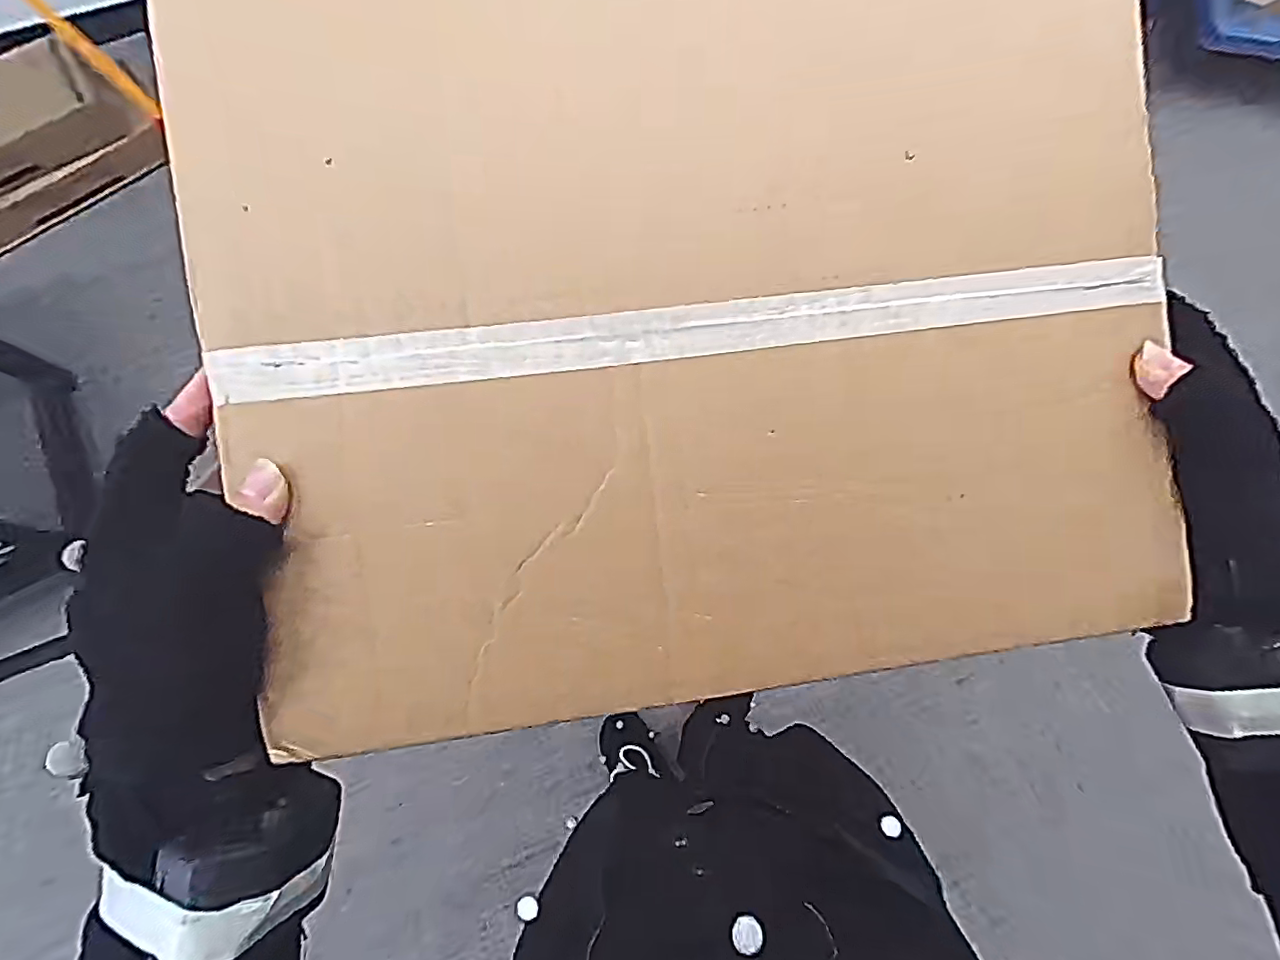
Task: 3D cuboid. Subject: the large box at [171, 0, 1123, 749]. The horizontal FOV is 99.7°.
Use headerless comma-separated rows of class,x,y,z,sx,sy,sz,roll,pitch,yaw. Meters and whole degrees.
large box,0.012,-0.069,0.390,0.408,0.320,0.320,-8,92,-5
